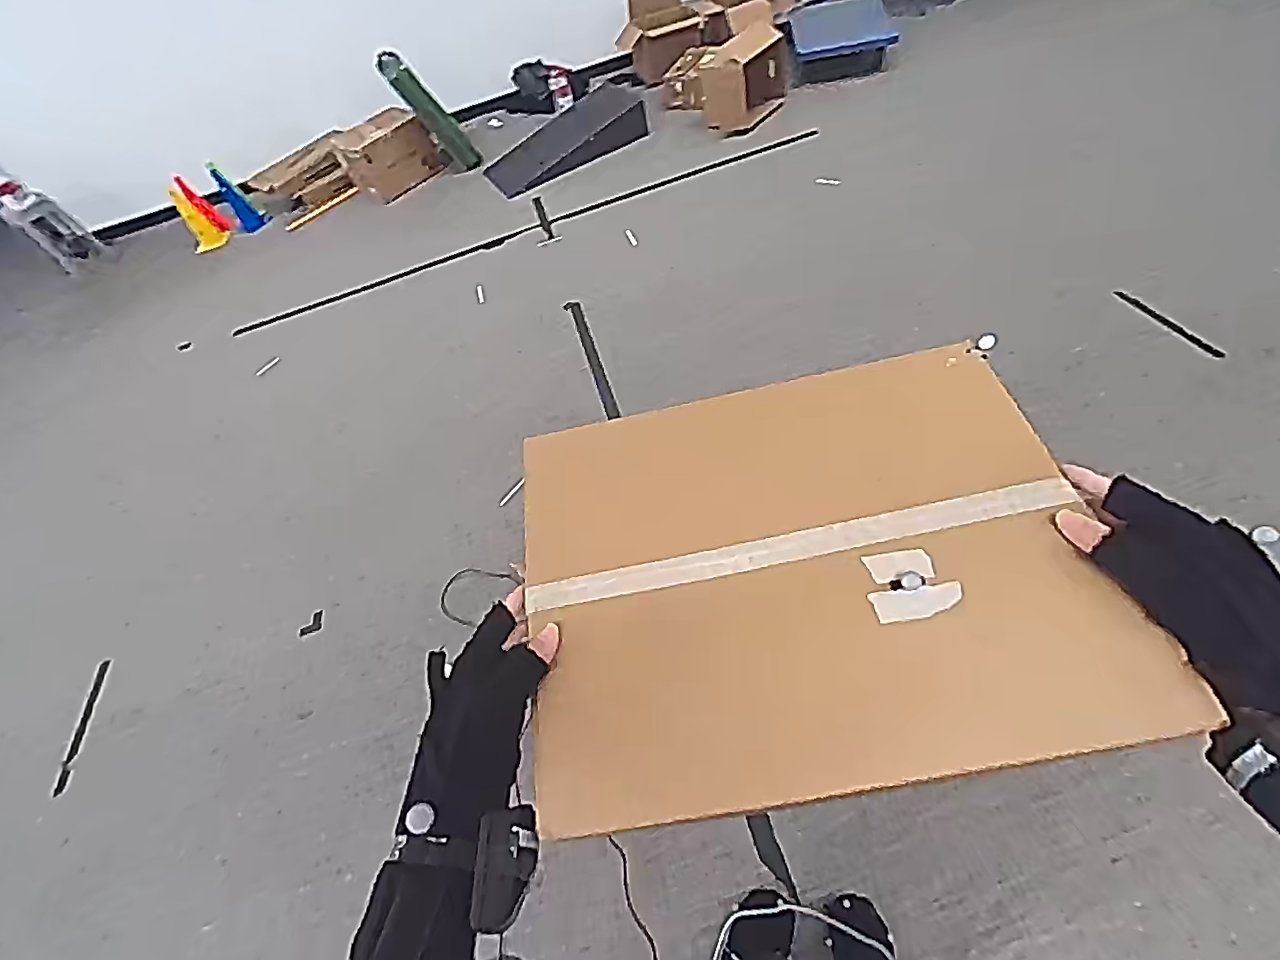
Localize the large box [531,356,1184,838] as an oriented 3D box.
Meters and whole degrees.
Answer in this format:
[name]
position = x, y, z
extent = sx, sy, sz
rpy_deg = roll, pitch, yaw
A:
[large box]
position = 0.137, 0.135, 0.539
extent = 0.408, 0.320, 0.320
rpy_deg = -13, 58, 3
